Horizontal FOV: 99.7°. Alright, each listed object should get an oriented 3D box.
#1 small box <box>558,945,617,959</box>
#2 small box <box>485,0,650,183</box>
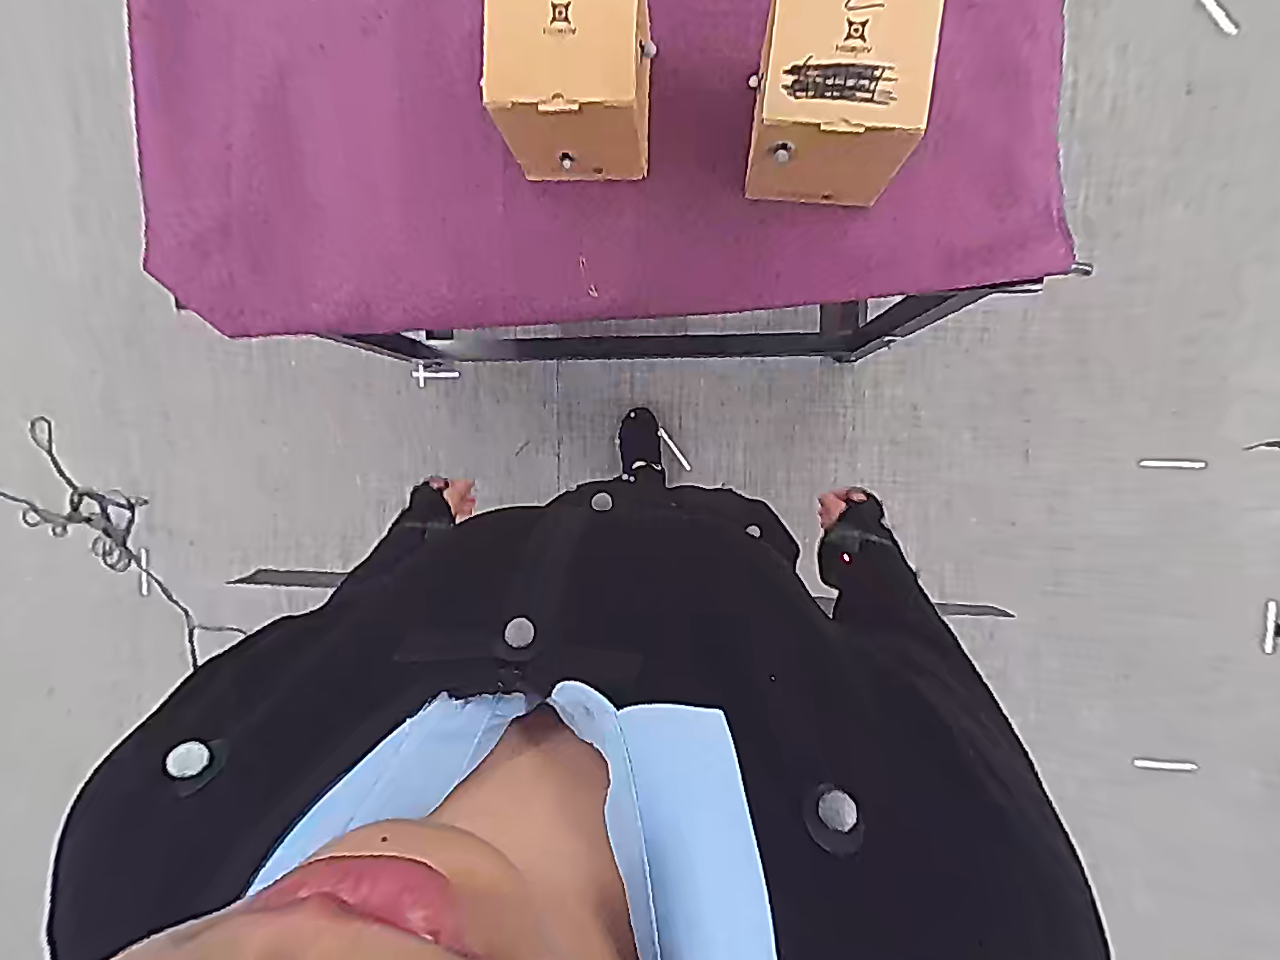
[{"bbox_3d":[-0.151,1.416,1.468,0.168,0.176,0.179,-2,94,5],"label":"small box"},{"bbox_3d":[-0.076,-0.487,0.648,0.168,0.176,0.179,2,94,4],"label":"small box"}]
